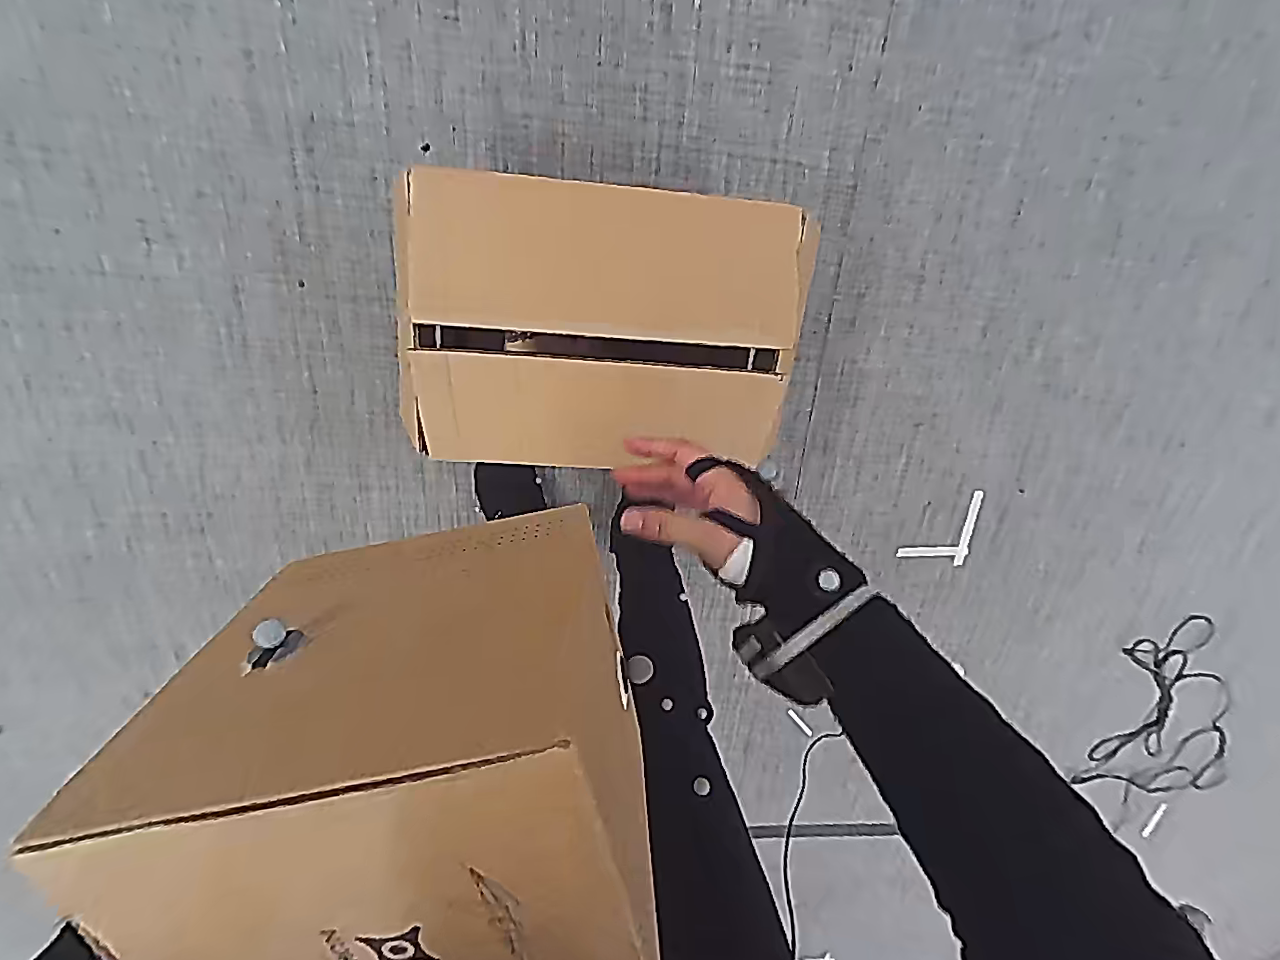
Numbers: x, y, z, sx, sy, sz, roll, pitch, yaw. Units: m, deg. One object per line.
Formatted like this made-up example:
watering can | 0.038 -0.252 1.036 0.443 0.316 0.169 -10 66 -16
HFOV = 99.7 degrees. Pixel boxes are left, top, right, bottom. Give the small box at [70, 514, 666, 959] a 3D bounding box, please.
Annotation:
small box | -0.092 0.137 0.277 0.179 0.176 0.168 -13 114 -1
